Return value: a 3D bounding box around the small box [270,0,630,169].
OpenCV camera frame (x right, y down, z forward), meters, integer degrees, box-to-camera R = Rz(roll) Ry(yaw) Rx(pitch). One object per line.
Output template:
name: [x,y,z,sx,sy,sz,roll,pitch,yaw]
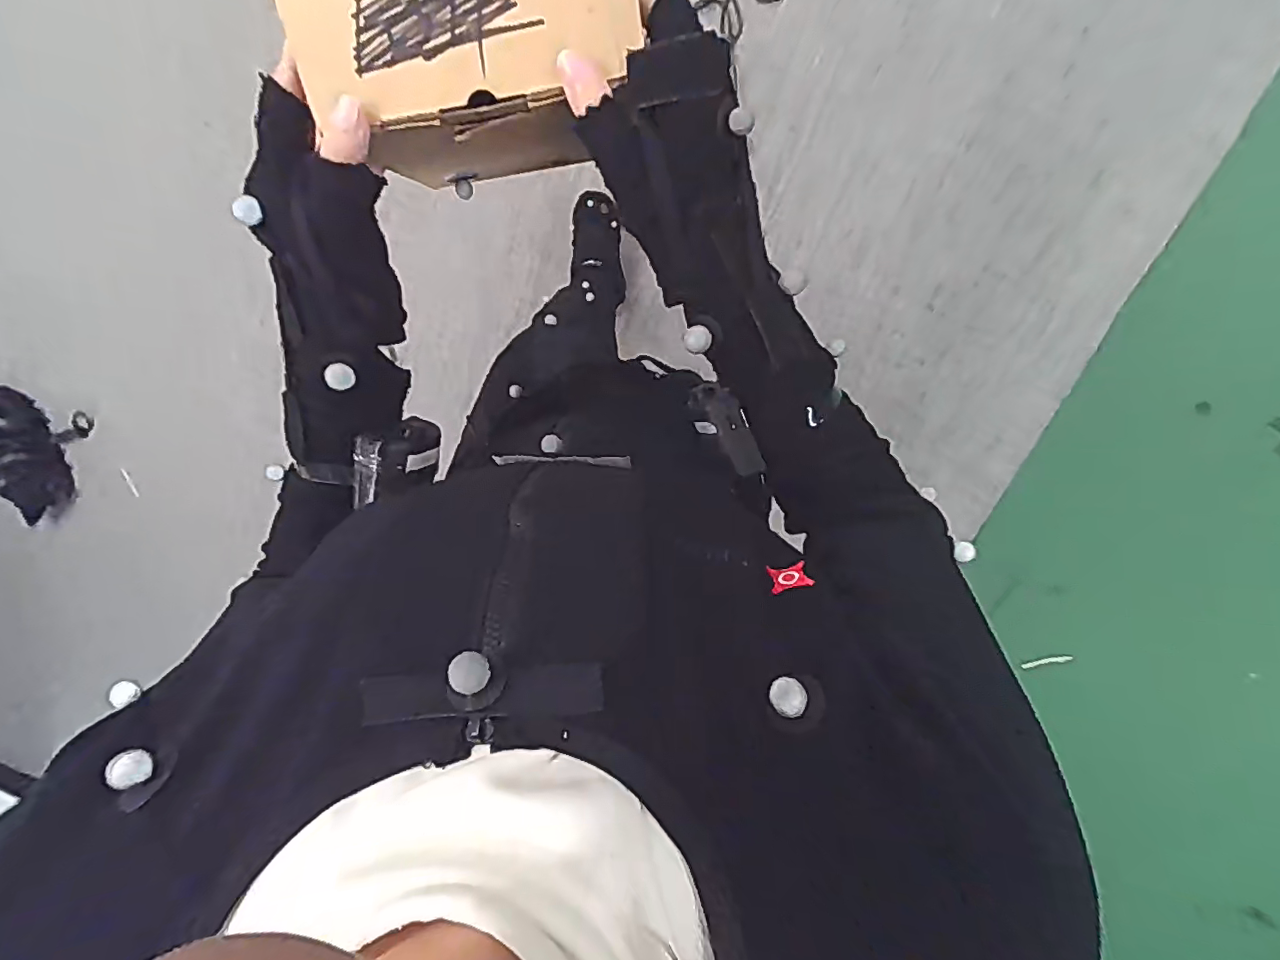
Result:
small box: [-0.097,-0.296,0.311,0.168,0.176,0.179,-8,109,2]
